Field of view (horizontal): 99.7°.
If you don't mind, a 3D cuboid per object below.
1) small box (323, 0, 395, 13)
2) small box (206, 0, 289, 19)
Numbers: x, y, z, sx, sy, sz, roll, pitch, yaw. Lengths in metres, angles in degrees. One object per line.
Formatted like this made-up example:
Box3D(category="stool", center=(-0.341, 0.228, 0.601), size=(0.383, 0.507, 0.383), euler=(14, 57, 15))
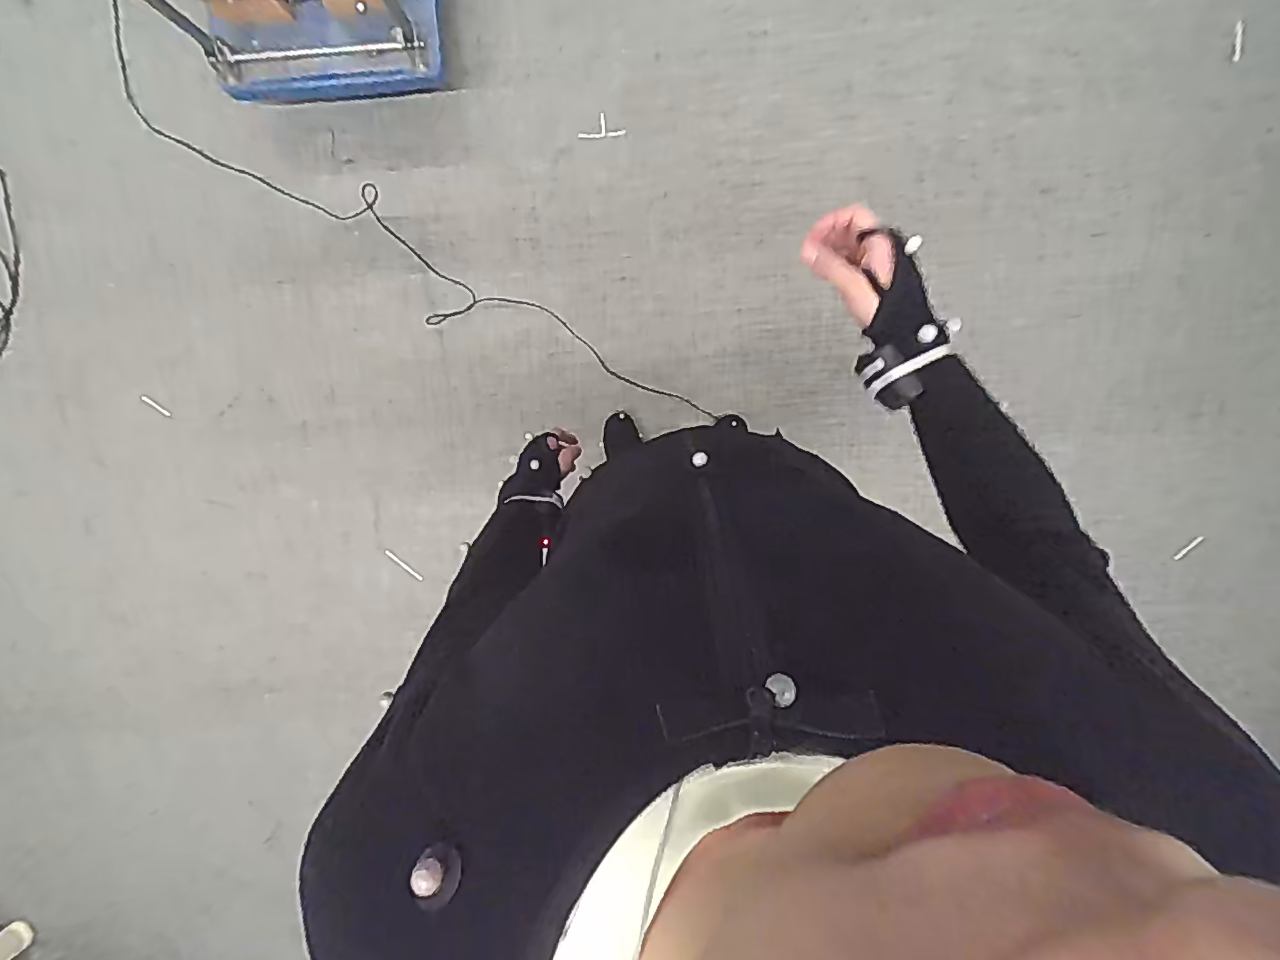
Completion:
Box3D(category="small box", center=(-0.673, -1.216, 1.232), size=(0.179, 0.176, 0.168), euler=(-5, 97, 1))
Box3D(category="small box", center=(-0.936, -1.203, 1.238), size=(0.179, 0.176, 0.168), euler=(0, 97, 2))
